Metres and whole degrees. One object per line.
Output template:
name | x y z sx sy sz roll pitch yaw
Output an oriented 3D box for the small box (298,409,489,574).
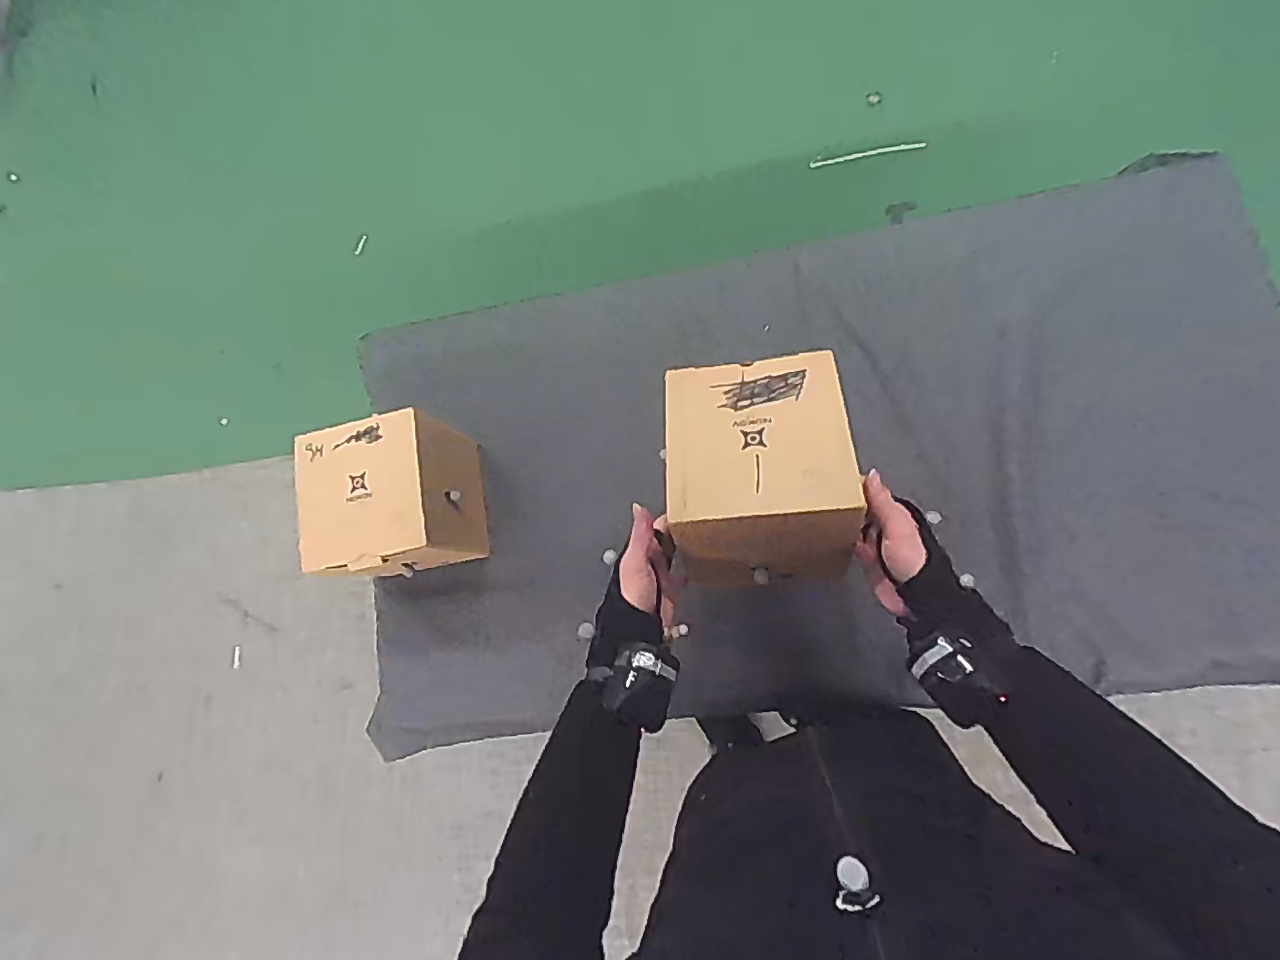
small box | -0.318 0.024 0.726 0.168 0.176 0.179 -12 79 8
